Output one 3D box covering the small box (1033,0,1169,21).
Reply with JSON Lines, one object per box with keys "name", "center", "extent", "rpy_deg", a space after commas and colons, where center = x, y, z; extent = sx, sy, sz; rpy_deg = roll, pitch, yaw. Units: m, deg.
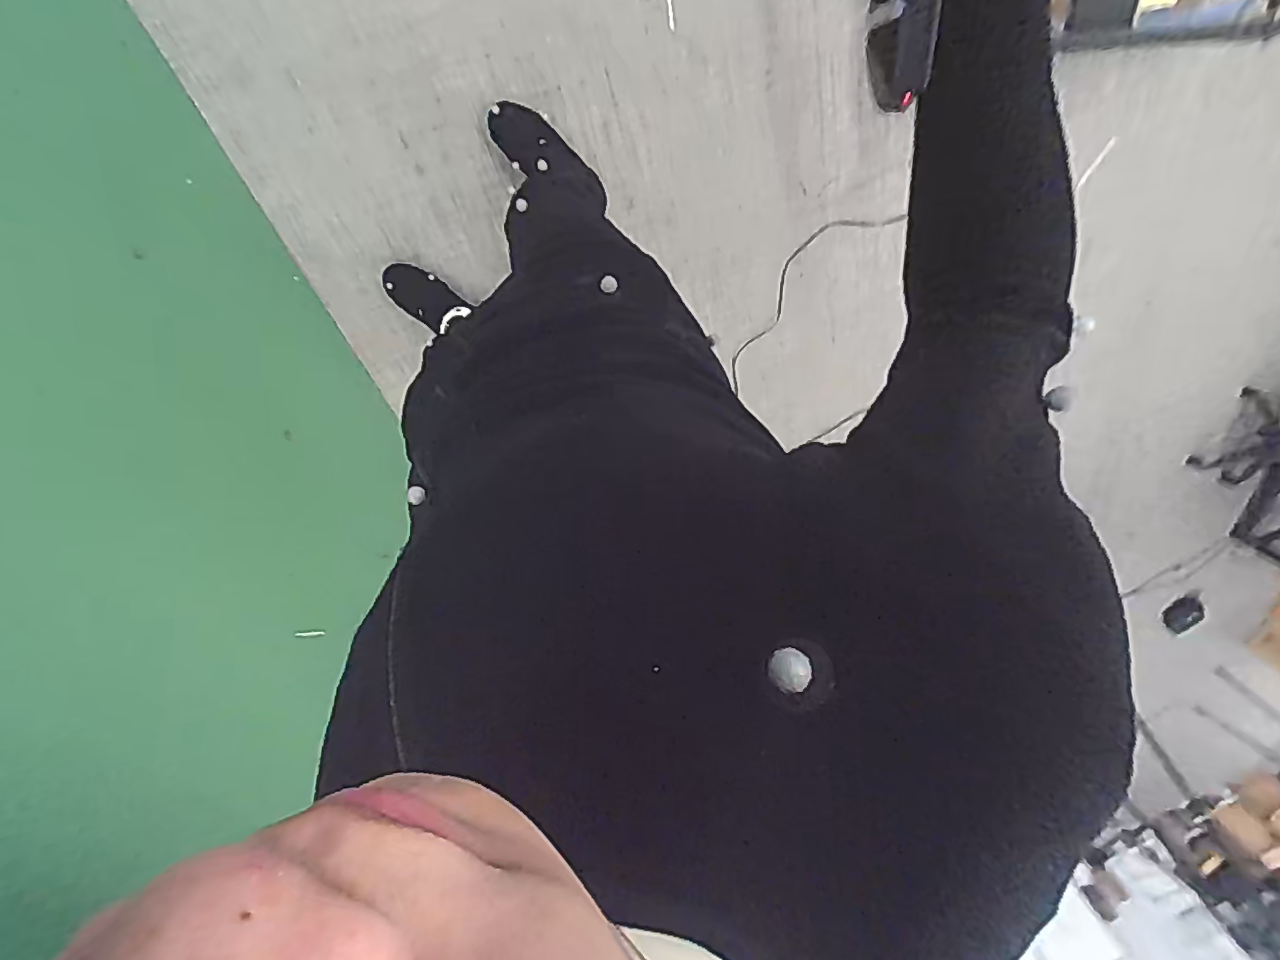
{"name": "small box", "center": [0.960, -1.056, 1.096], "extent": [0.179, 0.176, 0.168], "rpy_deg": [-15, 127, -6]}
